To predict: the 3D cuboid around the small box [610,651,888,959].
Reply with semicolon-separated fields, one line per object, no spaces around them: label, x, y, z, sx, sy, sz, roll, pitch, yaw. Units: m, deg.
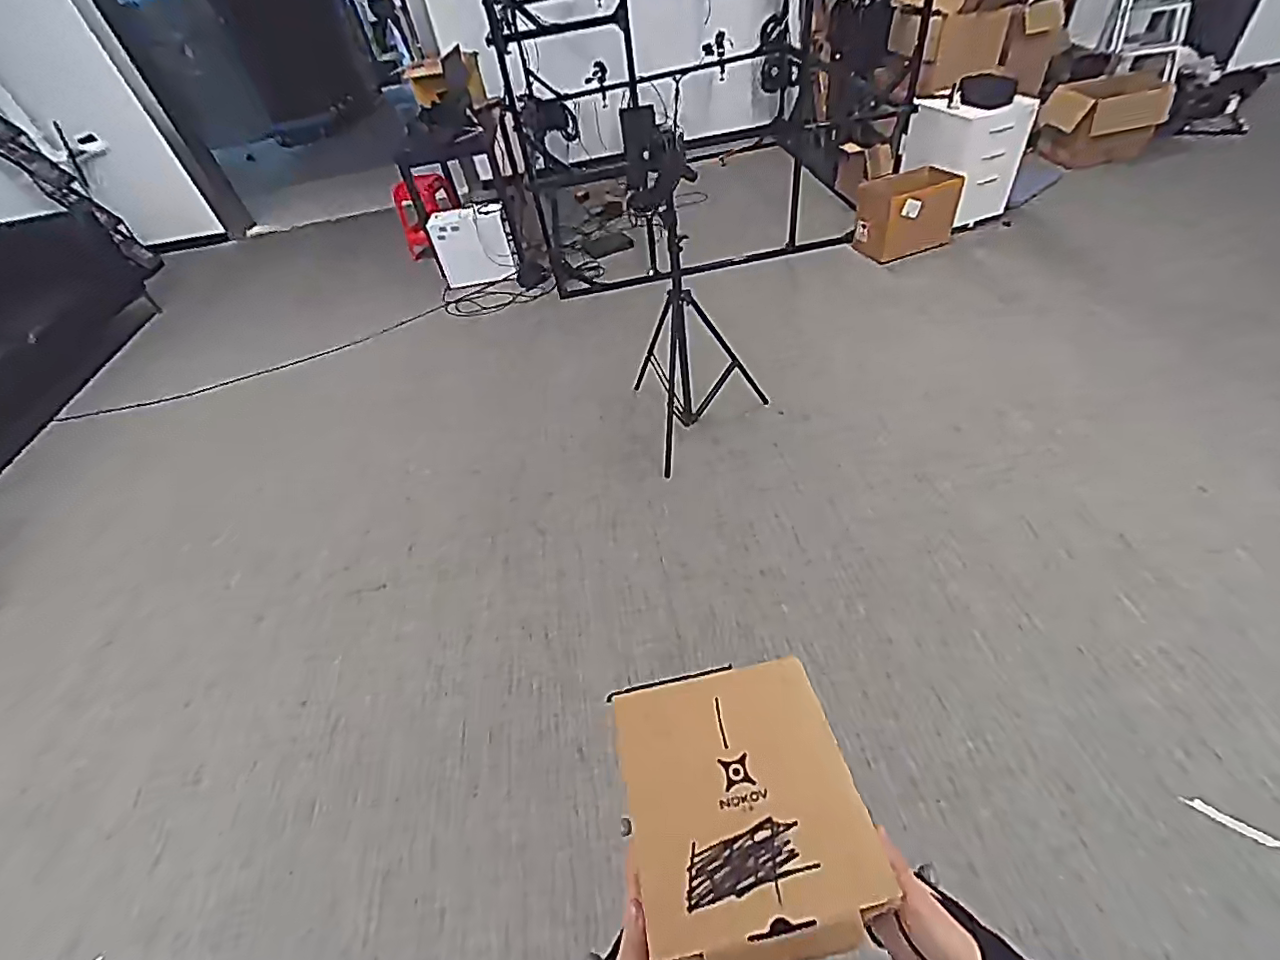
small box;0.076;0.277;0.457;0.168;0.176;0.179;-11;44;-4
